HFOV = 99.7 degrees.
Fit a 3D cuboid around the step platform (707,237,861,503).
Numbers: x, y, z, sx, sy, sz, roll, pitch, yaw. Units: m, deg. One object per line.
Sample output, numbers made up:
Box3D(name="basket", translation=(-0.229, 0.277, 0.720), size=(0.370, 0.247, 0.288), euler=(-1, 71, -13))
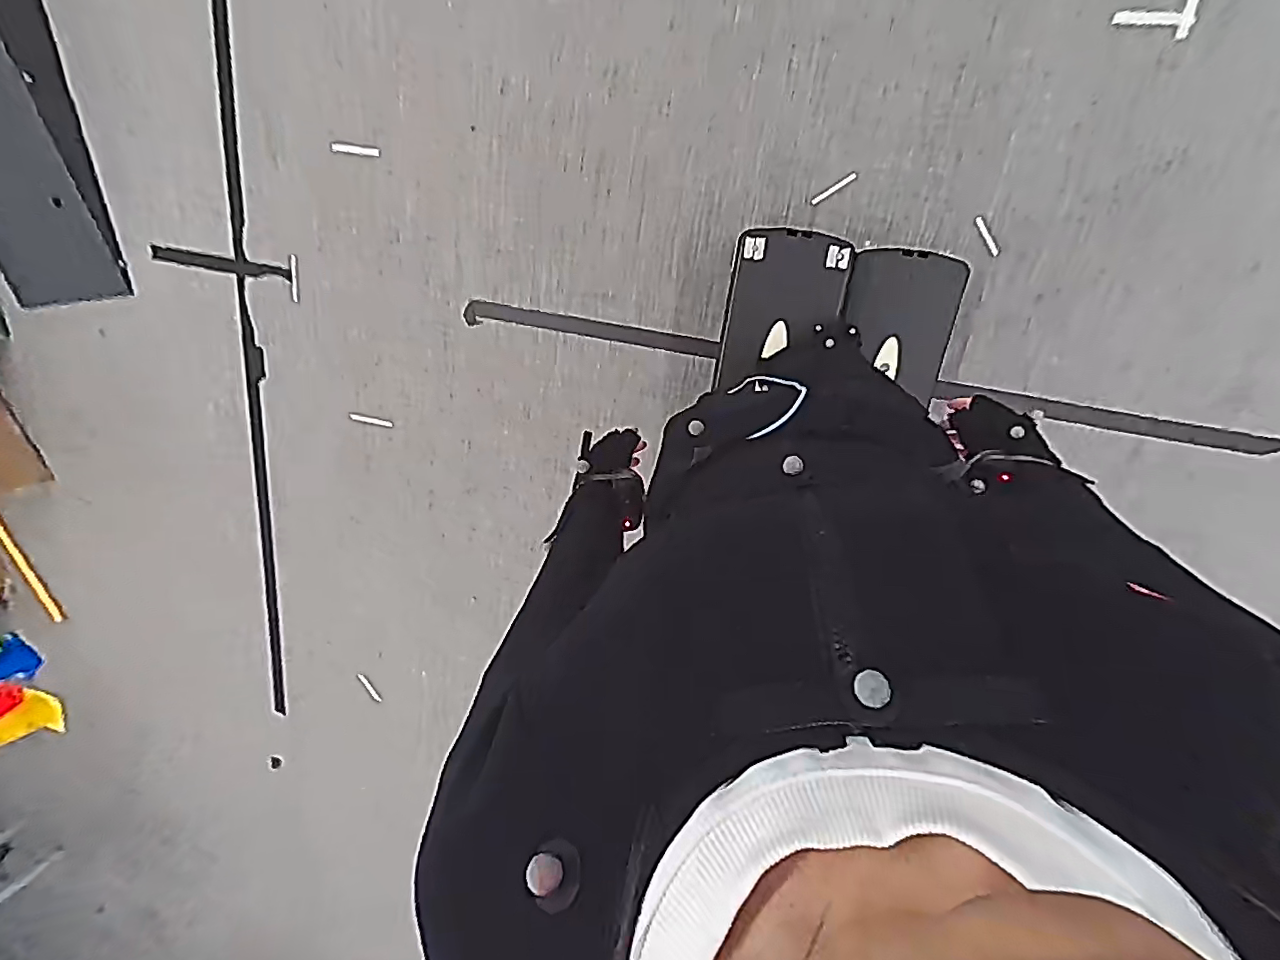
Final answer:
Box3D(name="step platform", translation=(0.367, -0.279, 1.450), size=(0.286, 0.204, 0.684), euler=(10, 106, 7))
